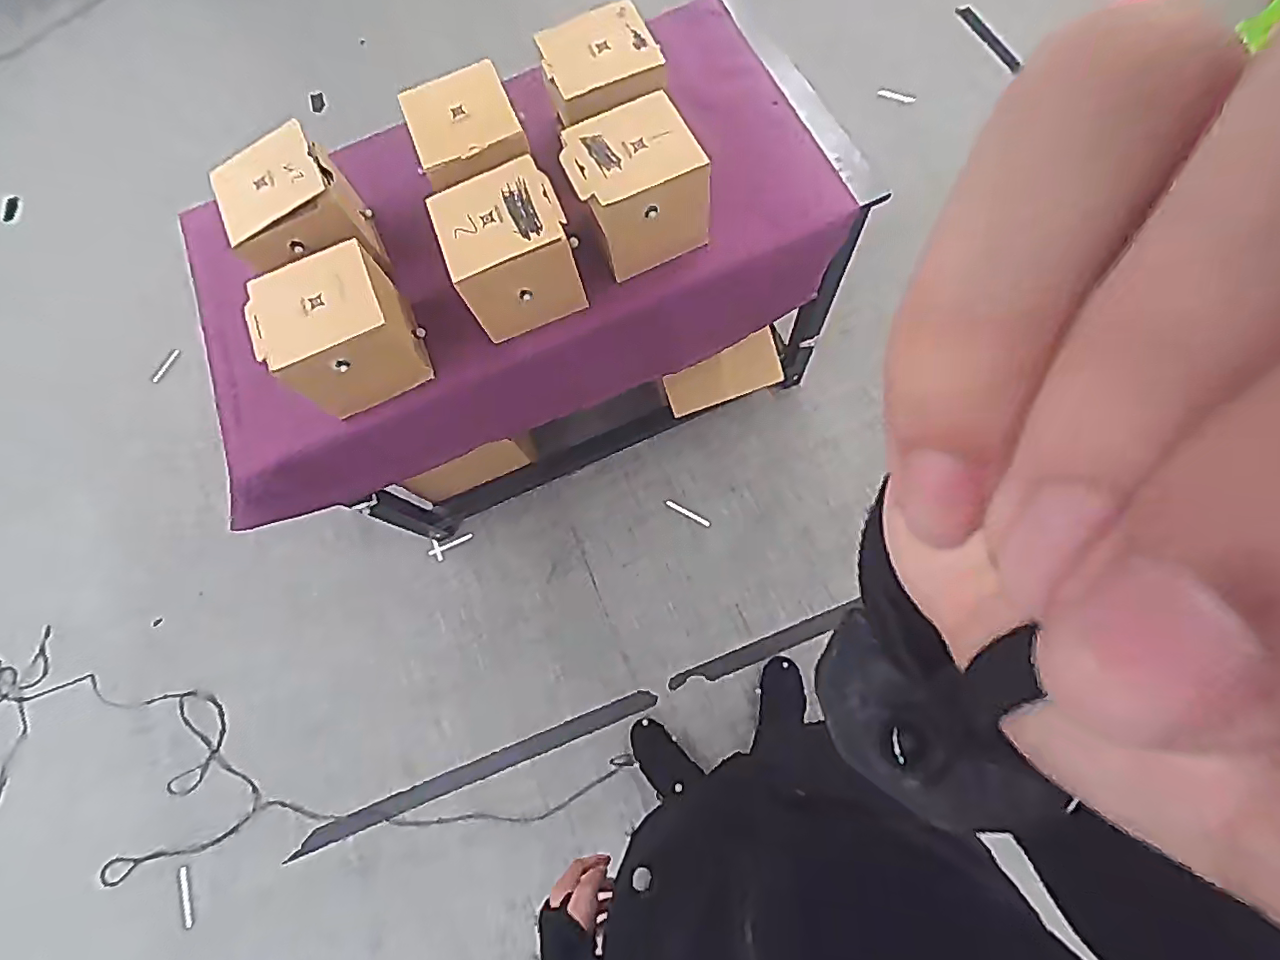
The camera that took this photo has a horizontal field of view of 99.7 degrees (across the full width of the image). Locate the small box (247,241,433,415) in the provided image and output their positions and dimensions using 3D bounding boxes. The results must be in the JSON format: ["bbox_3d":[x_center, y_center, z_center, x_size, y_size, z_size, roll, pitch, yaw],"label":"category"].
[{"bbox_3d":[-0.460,-0.226,0.847,0.179,0.176,0.168,-24,73,-2],"label":"small box"}]

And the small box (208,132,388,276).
[{"bbox_3d":[-0.569,-0.430,0.917,0.179,0.176,0.168,-26,74,-3],"label":"small box"}]
